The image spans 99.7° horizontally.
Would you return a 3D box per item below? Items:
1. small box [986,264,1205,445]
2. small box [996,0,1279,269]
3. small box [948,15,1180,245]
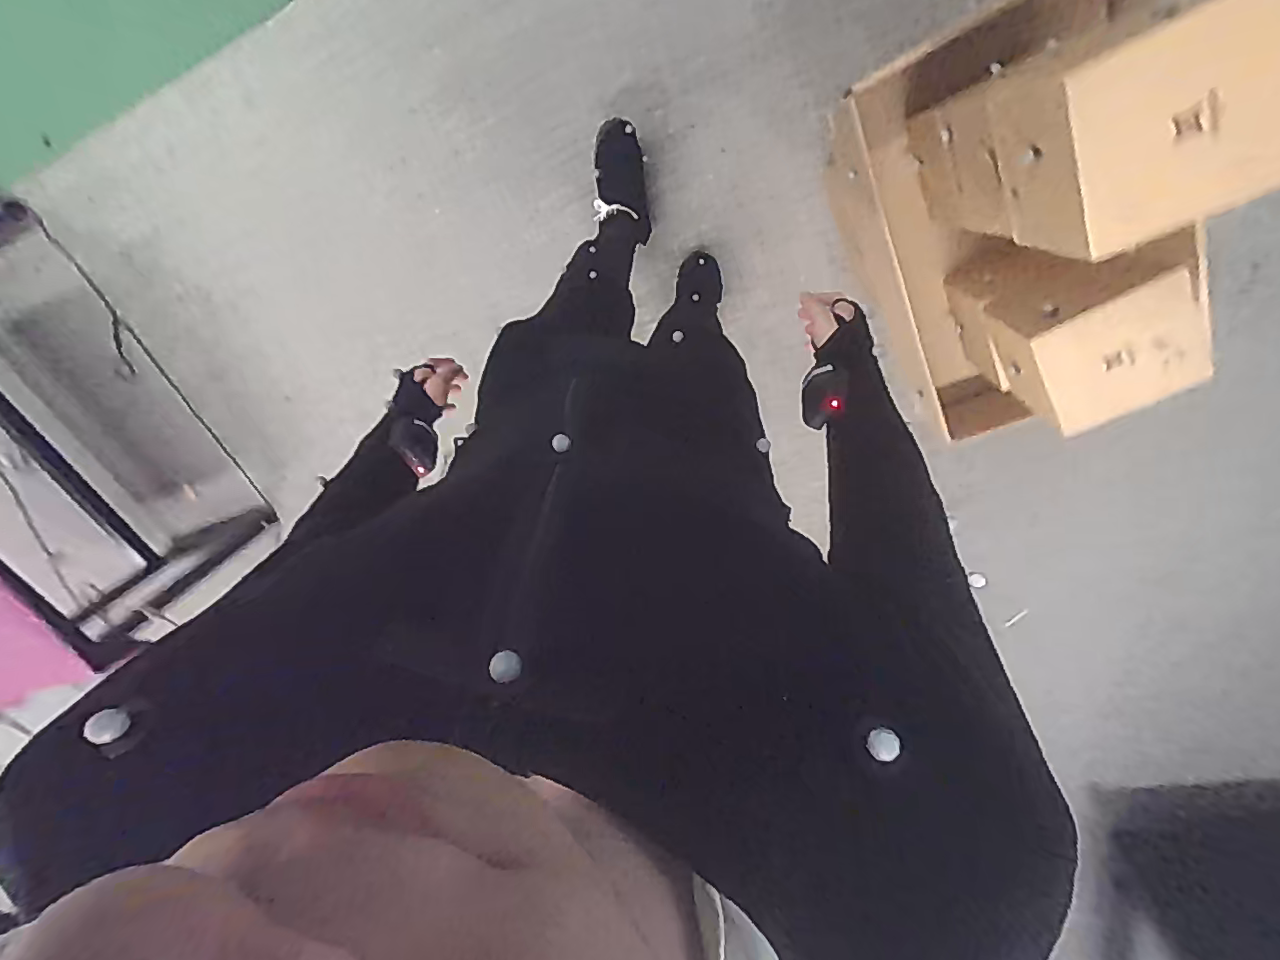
[{"bbox_3d":[0.630,-0.184,0.774,0.179,0.176,0.168,-27,113,22],"label":"small box"},{"bbox_3d":[0.480,-0.329,0.529,0.179,0.176,0.168,-21,113,18],"label":"small box"},{"bbox_3d":[0.505,-0.411,0.666,0.179,0.176,0.168,-20,114,17],"label":"small box"}]
